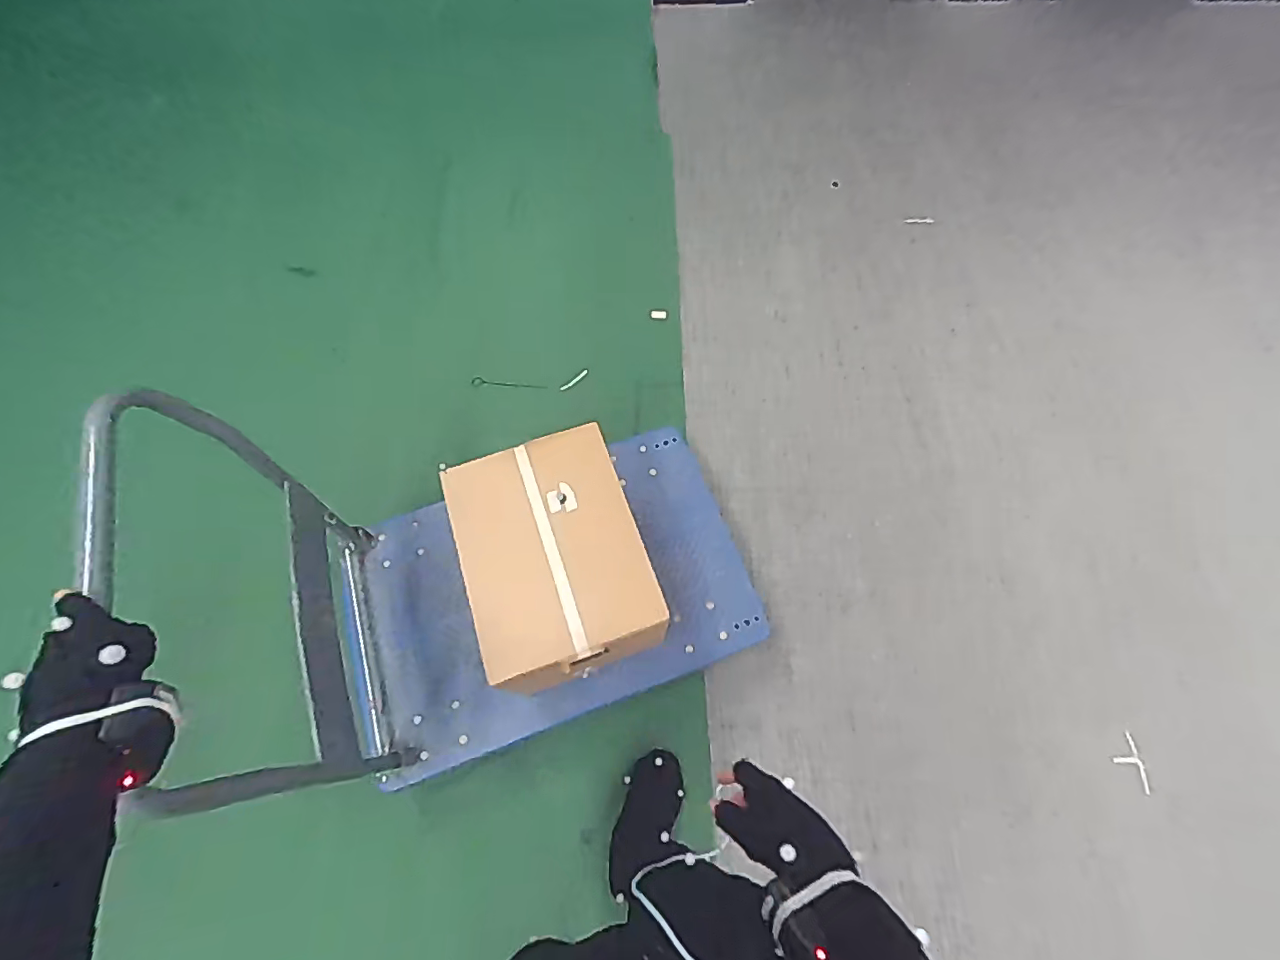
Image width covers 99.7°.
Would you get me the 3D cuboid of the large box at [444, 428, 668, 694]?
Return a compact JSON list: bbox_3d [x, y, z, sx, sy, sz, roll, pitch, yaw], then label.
[{"bbox_3d":[-0.158,0.174,1.103,0.320,0.320,0.408,-18,66,-8],"label":"large box"}]
